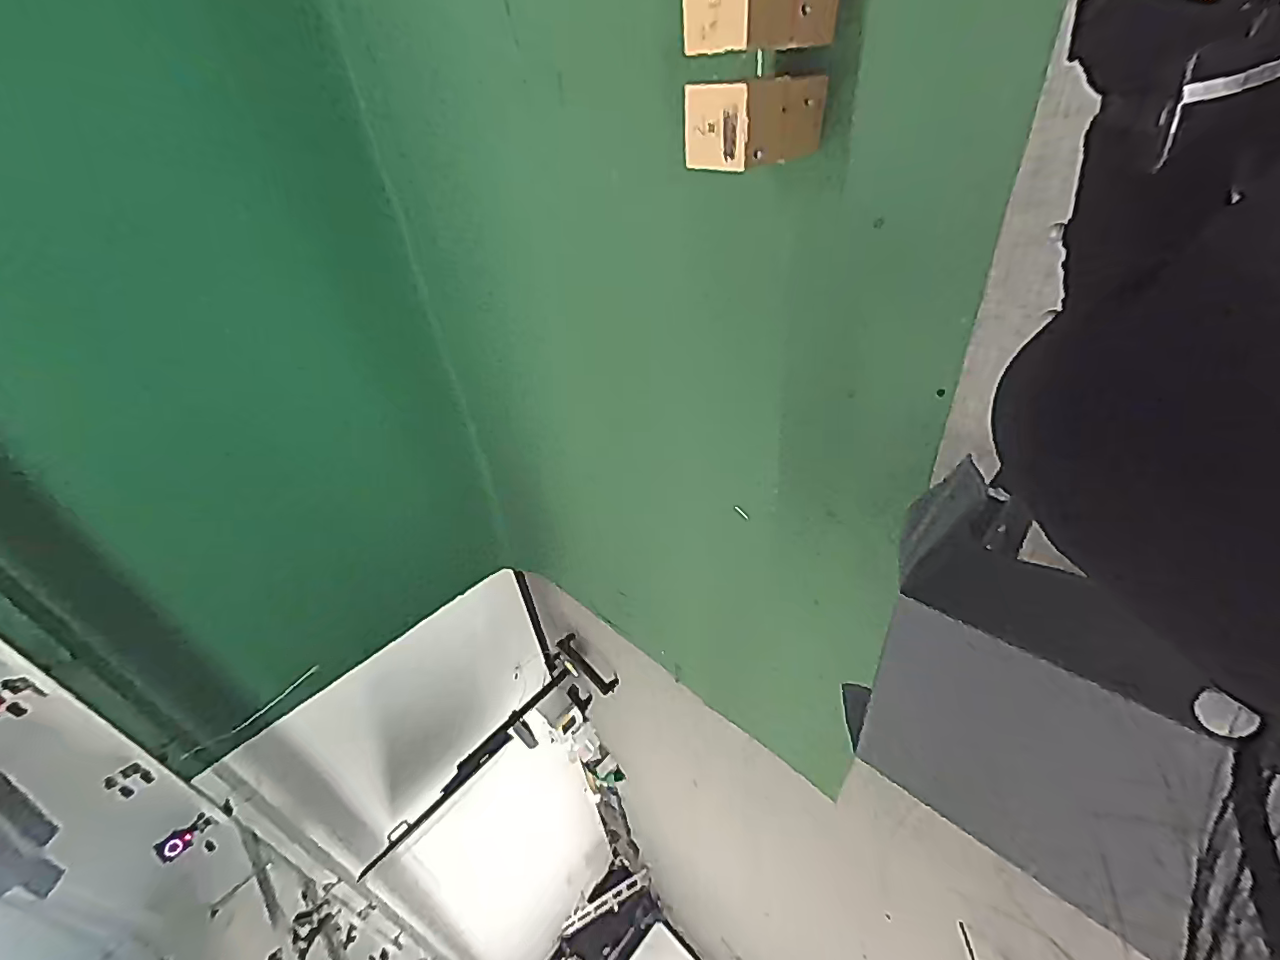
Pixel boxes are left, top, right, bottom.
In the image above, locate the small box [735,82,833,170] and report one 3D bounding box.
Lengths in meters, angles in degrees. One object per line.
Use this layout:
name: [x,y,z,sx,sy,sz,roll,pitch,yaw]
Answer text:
small box: [0.364,-0.902,1.371,0.179,0.176,0.168,30,140,34]
